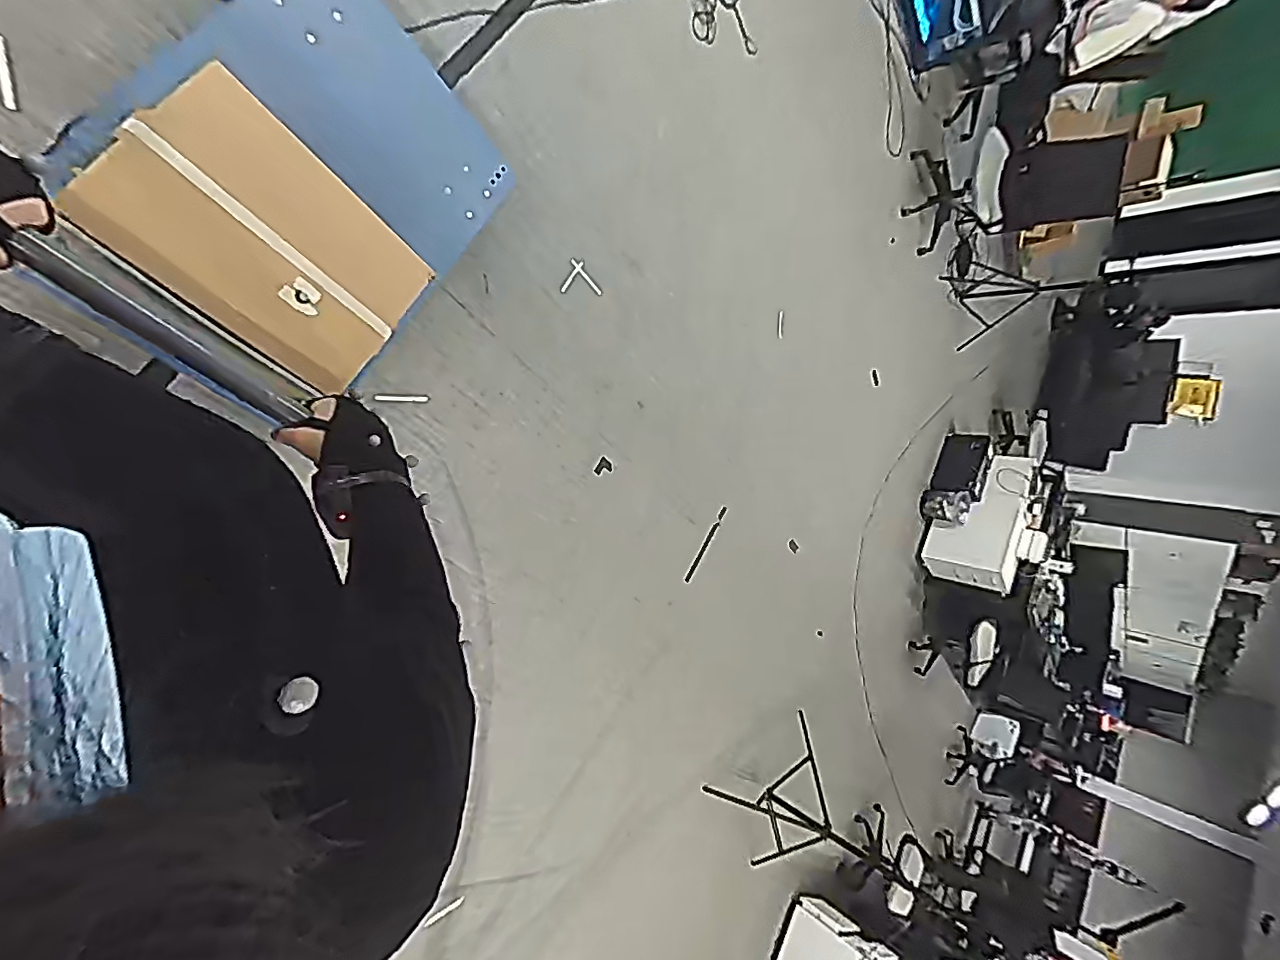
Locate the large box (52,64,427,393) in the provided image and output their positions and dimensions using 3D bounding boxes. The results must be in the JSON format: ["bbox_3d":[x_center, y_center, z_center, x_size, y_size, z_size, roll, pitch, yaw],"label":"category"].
[{"bbox_3d":[-0.691,-0.400,0.971,0.408,0.320,0.320,44,68,-40],"label":"large box"}]
